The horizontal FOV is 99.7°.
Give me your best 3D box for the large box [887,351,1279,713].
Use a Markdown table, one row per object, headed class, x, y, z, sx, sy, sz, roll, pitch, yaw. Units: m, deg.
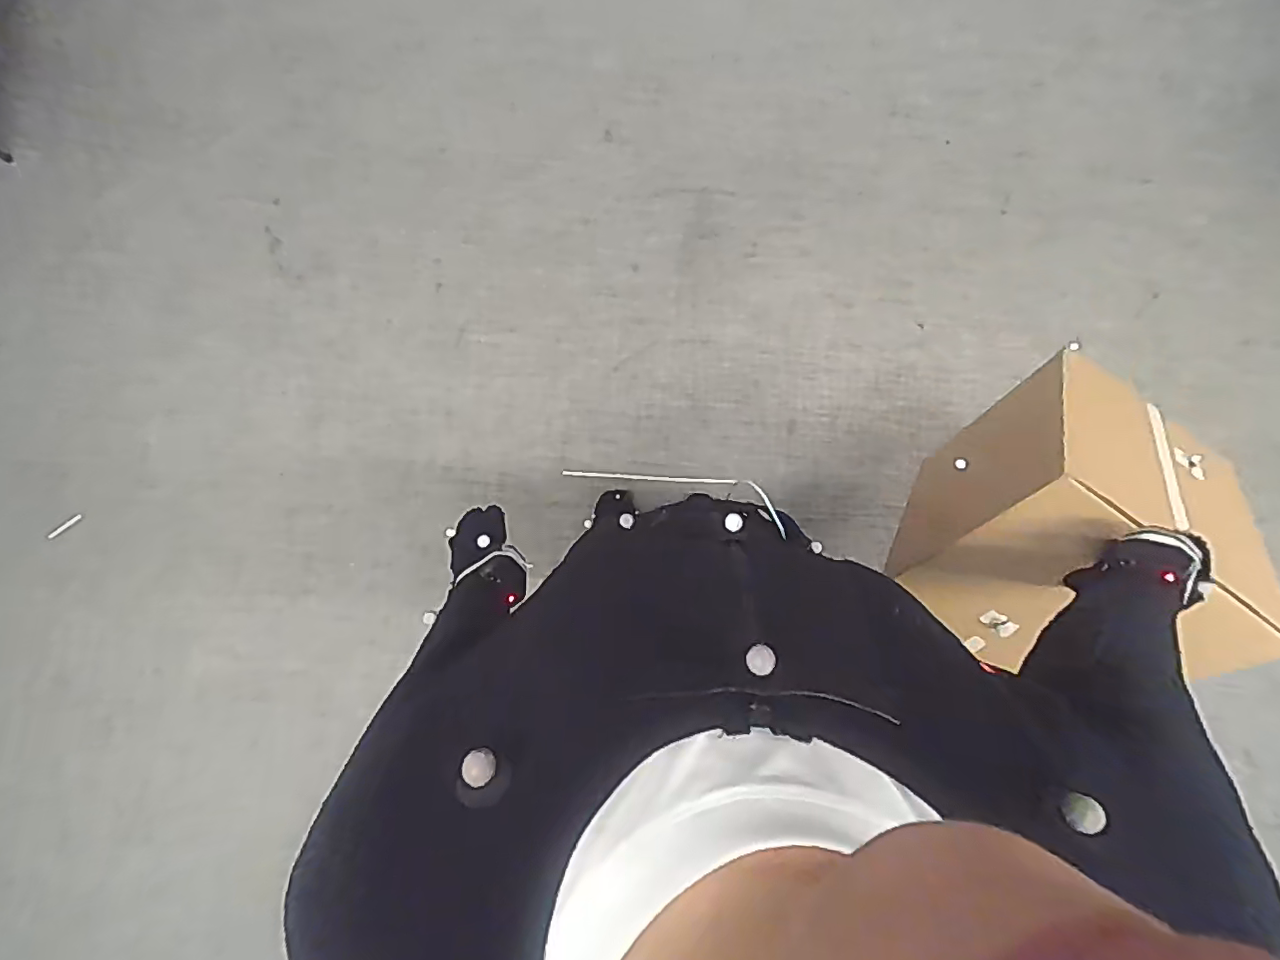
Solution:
| class | x | y | z | sx | sy | sz | roll | pitch | yaw |
| --- | --- | --- | --- | --- | --- | --- | --- | --- | --- |
| large box | 0.647 | 0.072 | 0.847 | 0.320 | 0.320 | 0.408 | 40 | 47 | 6 |
